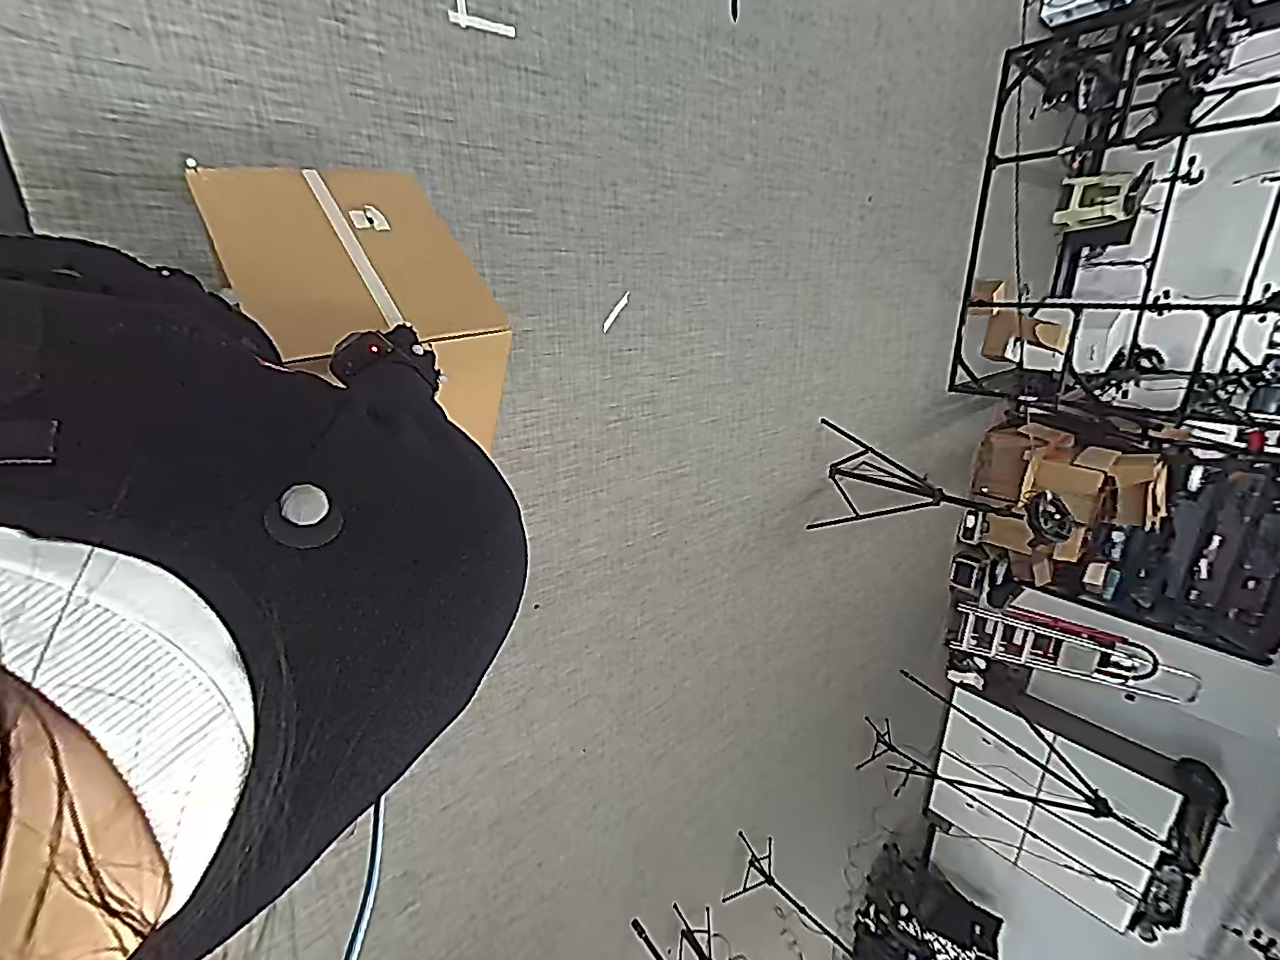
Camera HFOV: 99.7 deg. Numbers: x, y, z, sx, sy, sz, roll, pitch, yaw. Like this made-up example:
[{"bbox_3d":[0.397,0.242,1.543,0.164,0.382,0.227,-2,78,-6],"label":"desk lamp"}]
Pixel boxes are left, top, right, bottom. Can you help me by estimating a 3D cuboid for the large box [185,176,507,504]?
[{"bbox_3d":[-0.467,-0.237,0.895,0.320,0.408,0.320,-21,154,-35],"label":"large box"}]
